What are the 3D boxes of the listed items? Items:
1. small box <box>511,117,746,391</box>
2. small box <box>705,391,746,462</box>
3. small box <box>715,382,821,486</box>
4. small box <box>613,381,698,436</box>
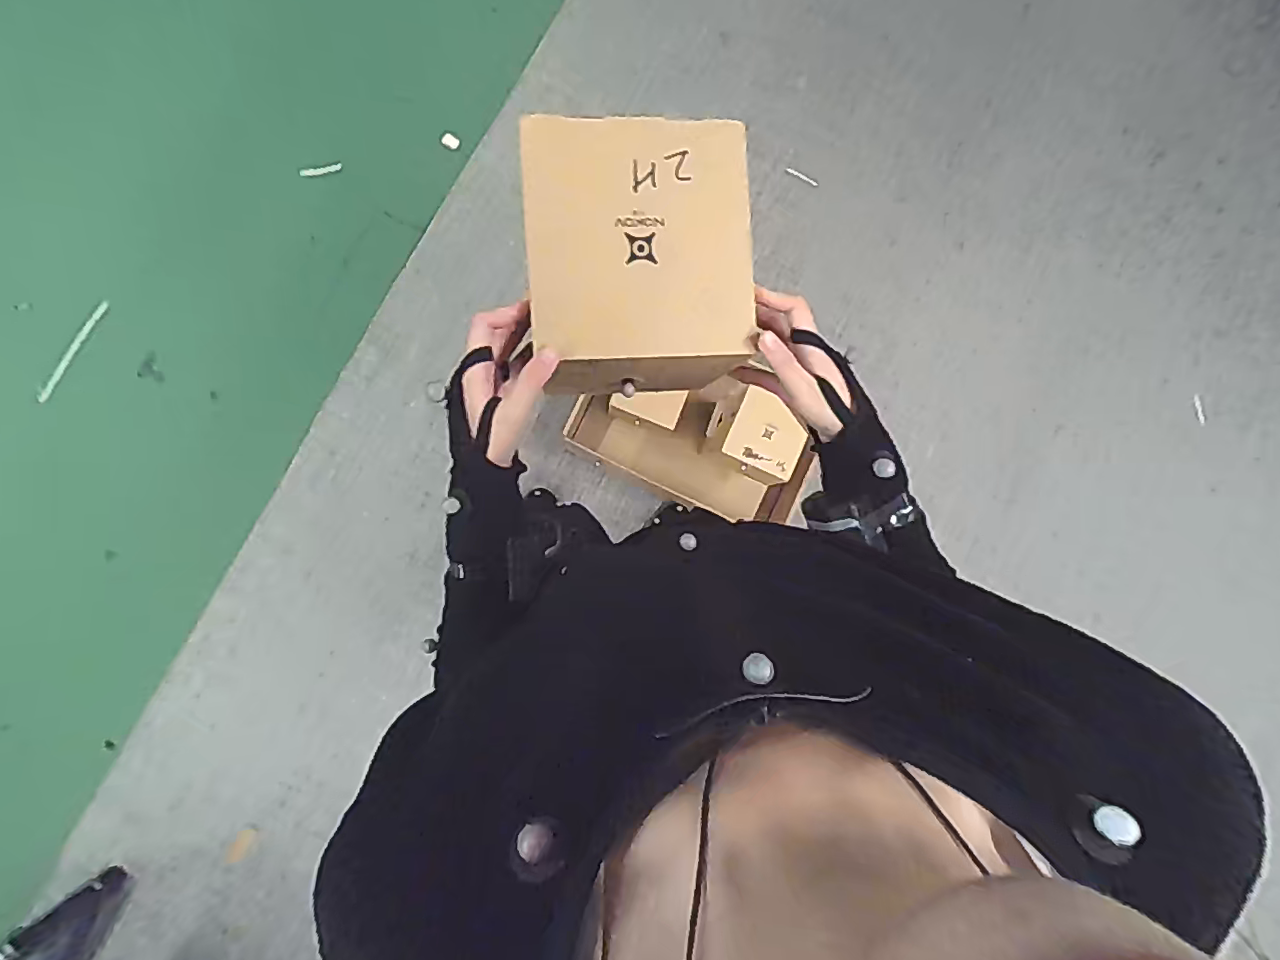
[{"bbox_3d":[-0.015,-0.175,0.471,0.168,0.176,0.179,-4,90,-8],"label":"small box"},{"bbox_3d":[0.283,-0.114,1.424,0.179,0.176,0.168,21,86,-1],"label":"small box"},{"bbox_3d":[0.288,-0.100,1.260,0.168,0.176,0.179,25,85,0],"label":"small box"},{"bbox_3d":[0.036,-0.224,1.418,0.179,0.176,0.168,23,86,-4],"label":"small box"}]
